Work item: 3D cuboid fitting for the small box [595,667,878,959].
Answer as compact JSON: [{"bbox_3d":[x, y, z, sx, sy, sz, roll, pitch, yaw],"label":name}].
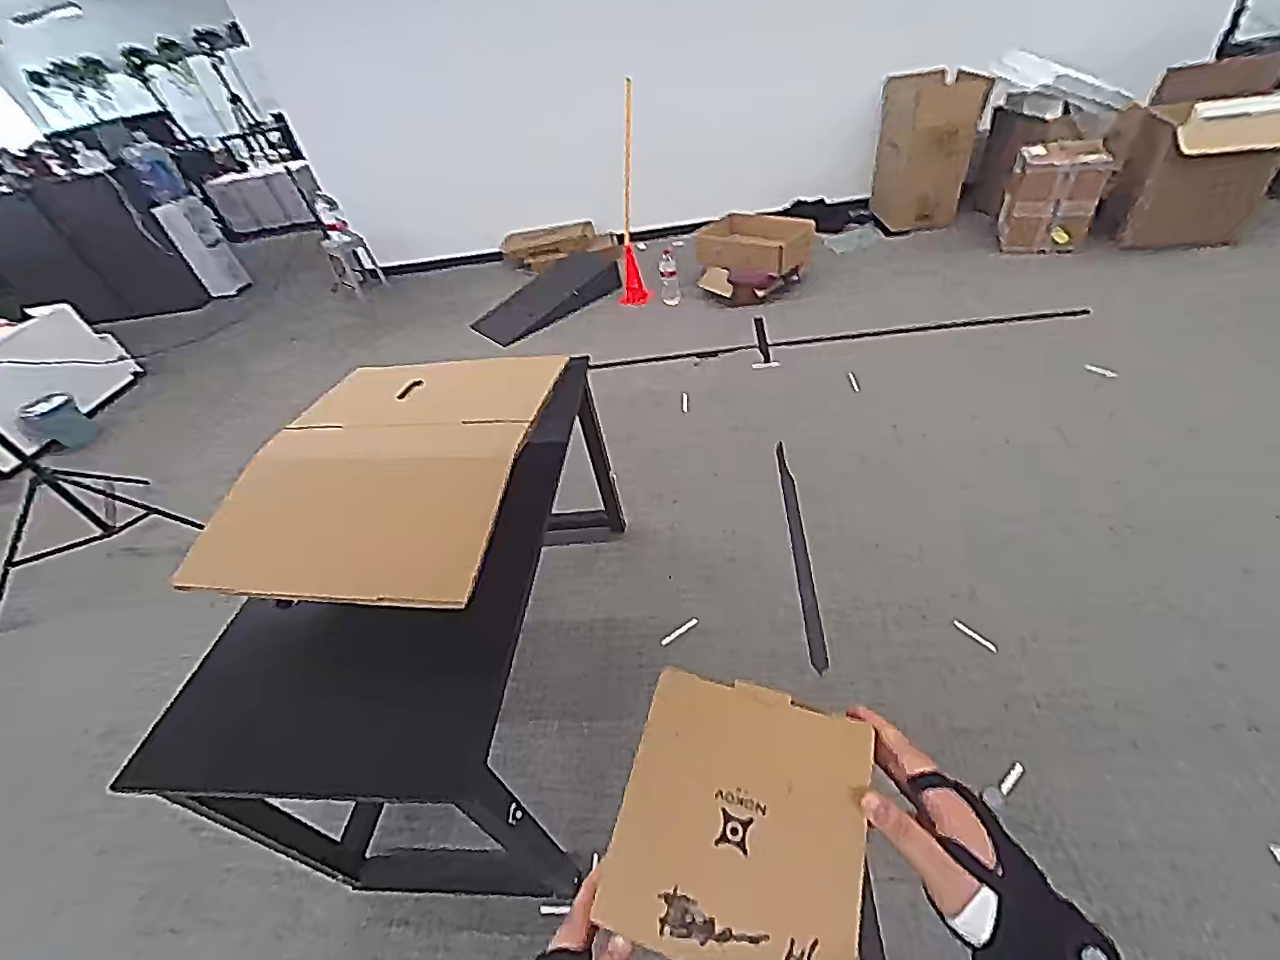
[{"bbox_3d":[0.085,0.283,0.439,0.168,0.176,0.179,9,56,20],"label":"small box"}]
